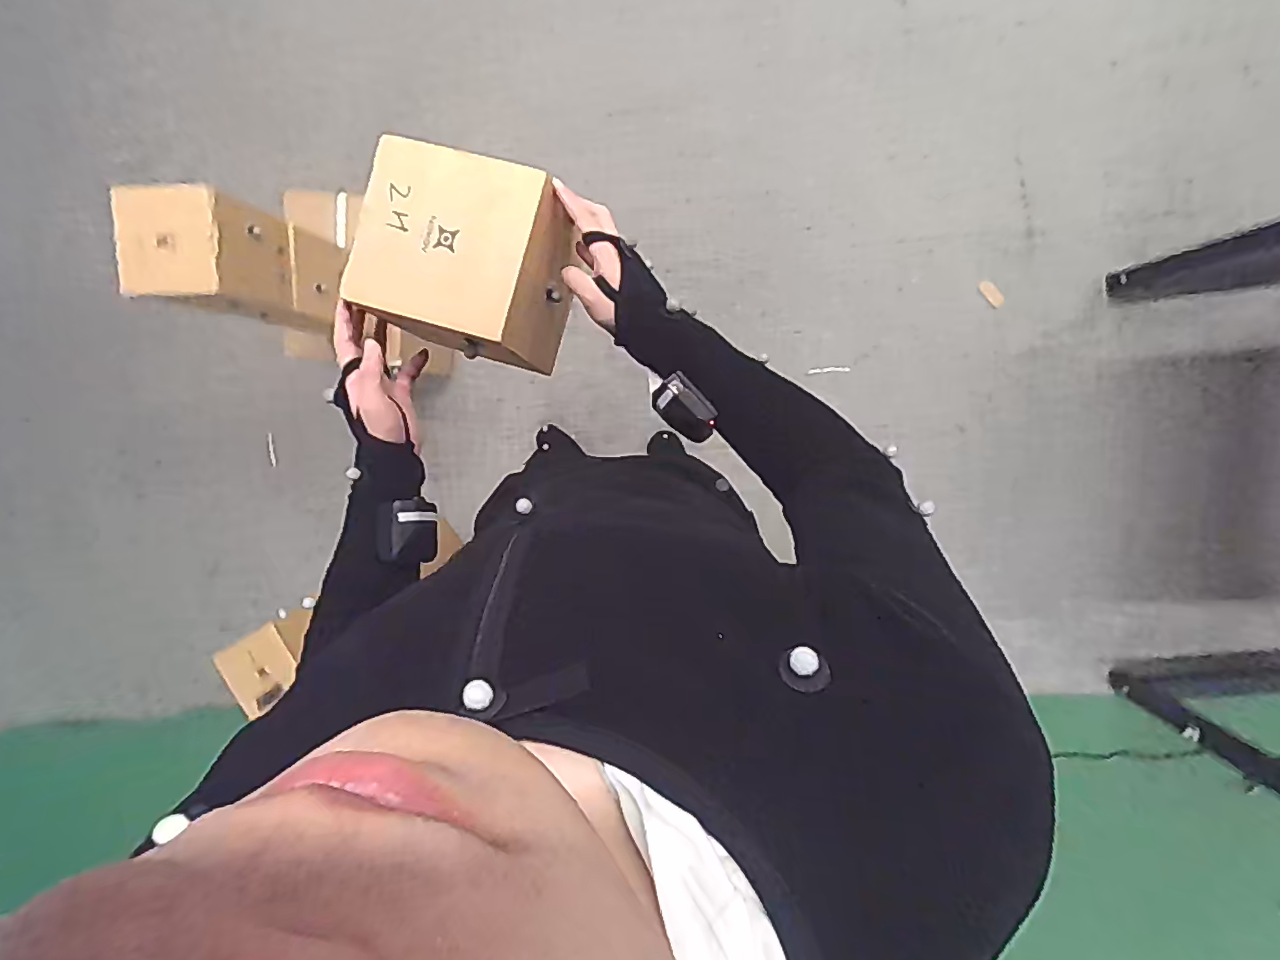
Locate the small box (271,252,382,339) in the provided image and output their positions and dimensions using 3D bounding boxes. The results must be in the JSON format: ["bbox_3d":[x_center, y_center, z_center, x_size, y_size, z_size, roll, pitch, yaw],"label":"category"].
[{"bbox_3d":[-0.717,-0.423,1.251,0.179,0.176,0.168,2,97,3],"label":"small box"}]

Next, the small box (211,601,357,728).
[{"bbox_3d":[-0.771,0.398,1.193,0.168,0.176,0.179,-29,94,8],"label":"small box"}]

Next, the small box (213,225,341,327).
[{"bbox_3d":[-0.729,-0.405,1.090,0.179,0.176,0.168,2,98,5],"label":"small box"}]

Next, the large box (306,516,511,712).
[{"bbox_3d":[-0.656,0.375,1.595,0.320,0.320,0.408,-36,94,9],"label":"large box"}]

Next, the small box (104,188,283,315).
[{"bbox_3d":[-0.747,-0.383,0.929,0.179,0.176,0.168,1,97,5],"label":"small box"}]
